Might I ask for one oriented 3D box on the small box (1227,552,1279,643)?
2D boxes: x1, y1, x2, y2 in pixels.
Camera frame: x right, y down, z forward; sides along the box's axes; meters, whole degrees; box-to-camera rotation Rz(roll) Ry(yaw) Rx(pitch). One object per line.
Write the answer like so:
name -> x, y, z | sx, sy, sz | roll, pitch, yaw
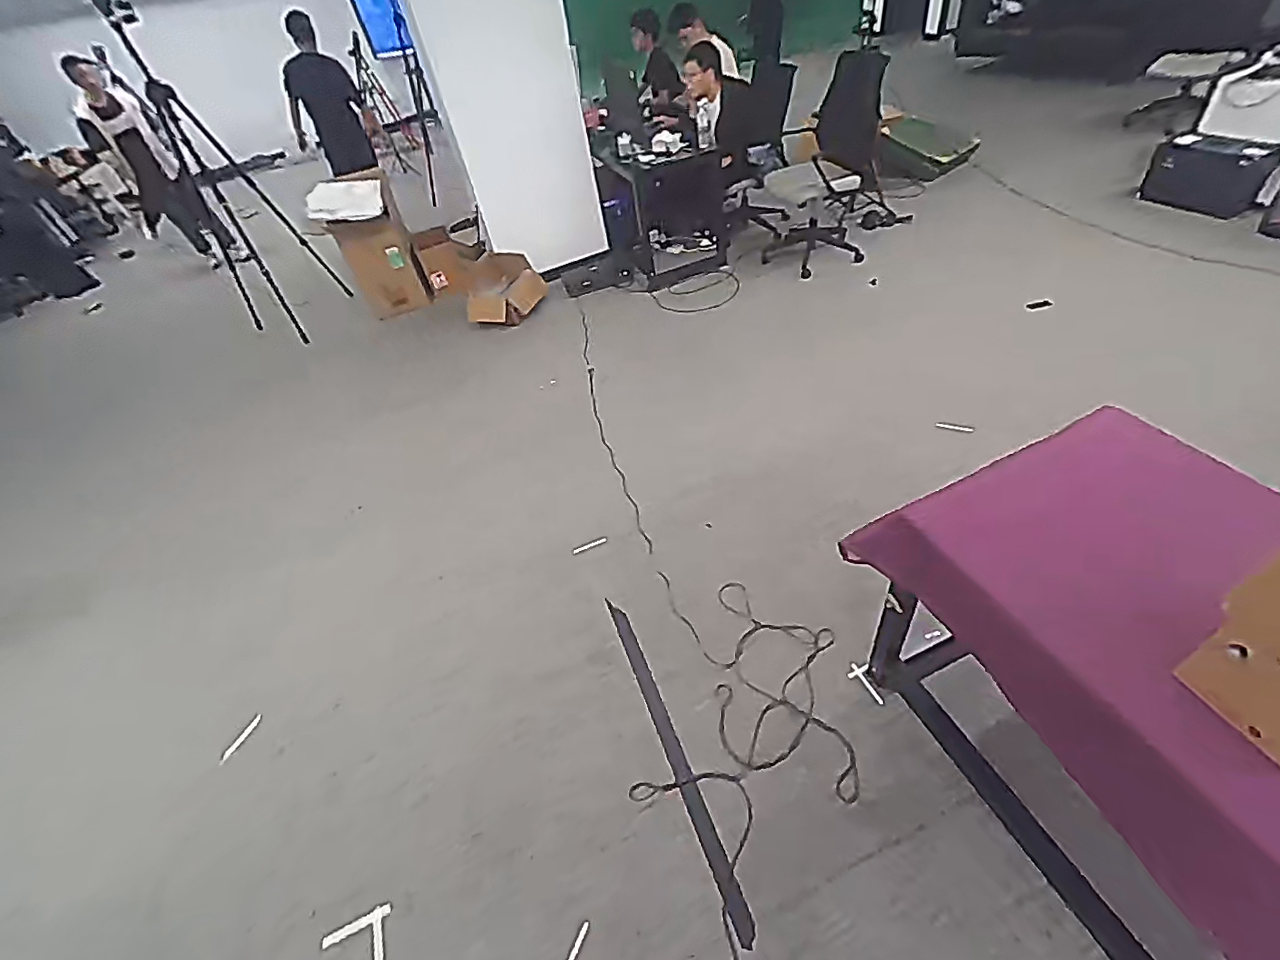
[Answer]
small box -> 0.869, 0.138, 0.624 | 0.168, 0.176, 0.179 | -20, 44, -7
